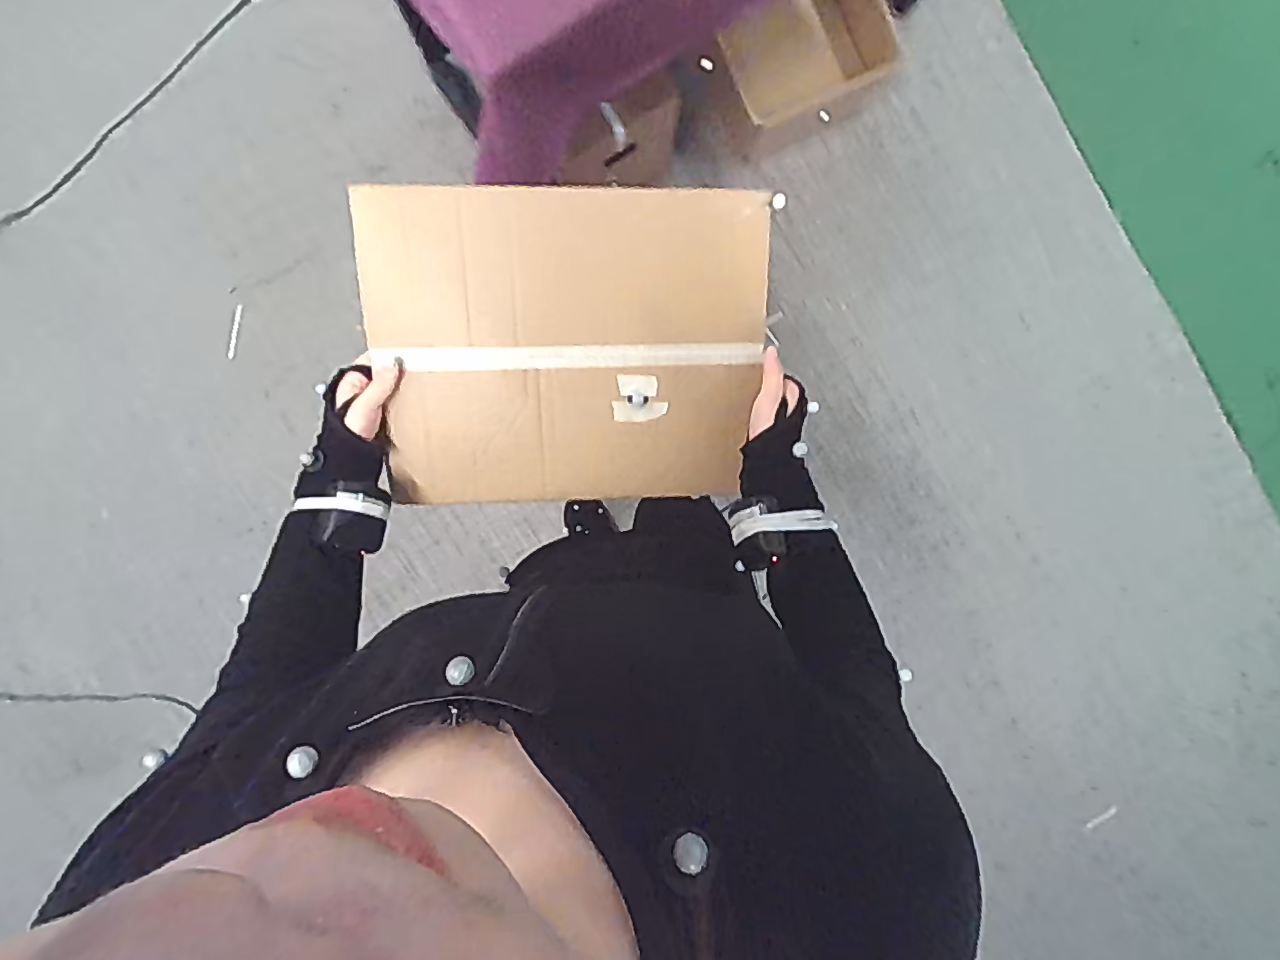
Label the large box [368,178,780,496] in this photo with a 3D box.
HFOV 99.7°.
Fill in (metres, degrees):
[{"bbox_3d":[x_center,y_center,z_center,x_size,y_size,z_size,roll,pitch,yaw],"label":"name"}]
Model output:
[{"bbox_3d":[-0.072,-0.175,0.700,0.408,0.320,0.320,-1,106,-5],"label":"large box"}]
